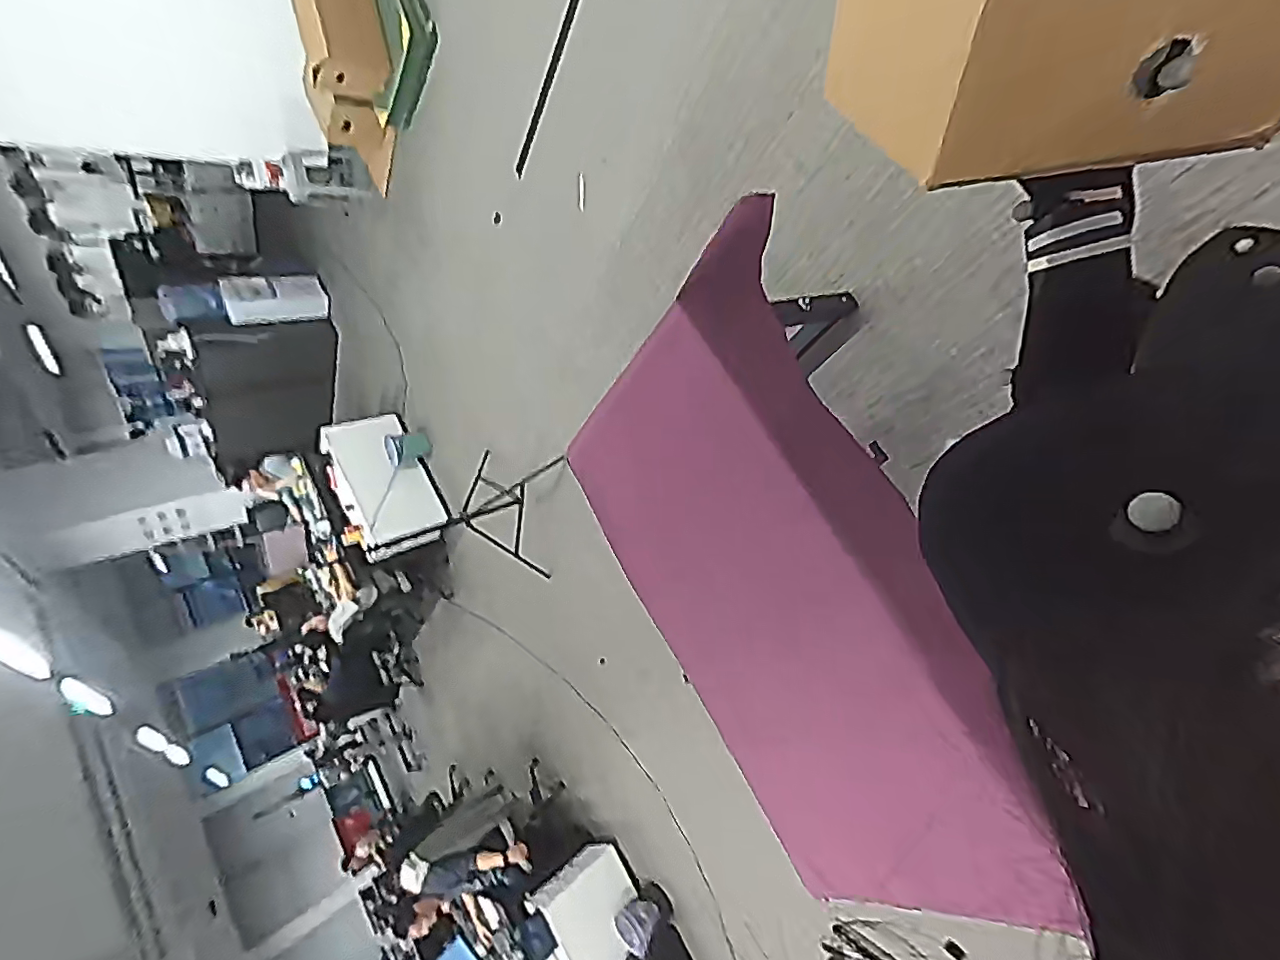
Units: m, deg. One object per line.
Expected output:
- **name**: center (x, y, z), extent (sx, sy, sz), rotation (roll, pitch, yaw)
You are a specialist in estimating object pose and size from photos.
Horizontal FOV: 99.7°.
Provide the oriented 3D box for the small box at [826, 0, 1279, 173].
- **small box**: center (0.210, -0.276, 0.254), extent (0.176, 0.179, 0.168), rotation (83, -178, -49)
